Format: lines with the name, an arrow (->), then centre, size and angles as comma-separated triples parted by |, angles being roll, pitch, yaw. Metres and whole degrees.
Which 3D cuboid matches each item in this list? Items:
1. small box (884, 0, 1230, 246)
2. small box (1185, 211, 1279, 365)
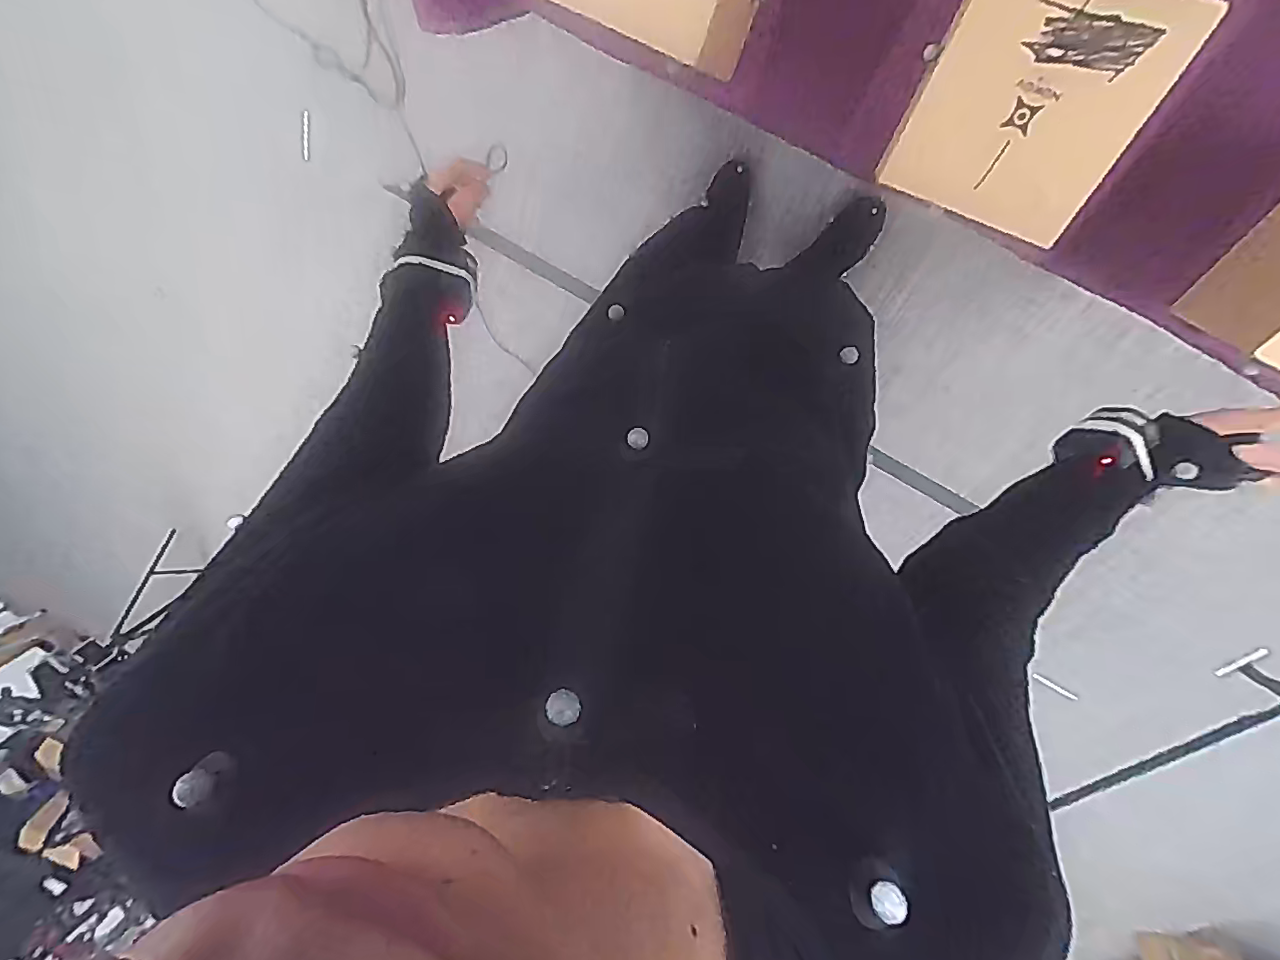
small box -> 0.345, -0.348, 0.500 | 0.168, 0.176, 0.179 | 26, 128, 6
small box -> 0.659, -0.174, 0.474 | 0.168, 0.176, 0.179 | 31, 127, 4
